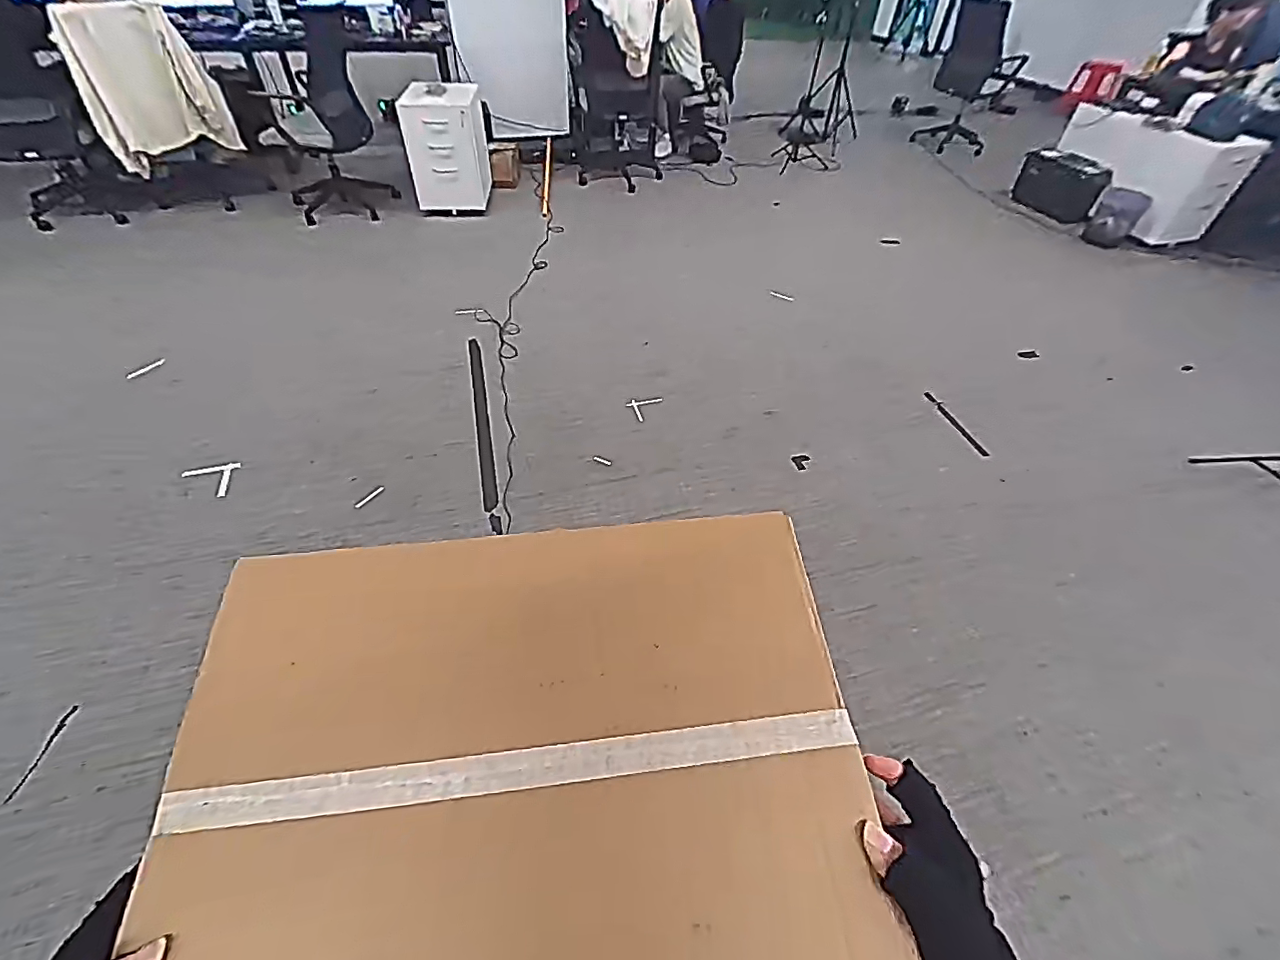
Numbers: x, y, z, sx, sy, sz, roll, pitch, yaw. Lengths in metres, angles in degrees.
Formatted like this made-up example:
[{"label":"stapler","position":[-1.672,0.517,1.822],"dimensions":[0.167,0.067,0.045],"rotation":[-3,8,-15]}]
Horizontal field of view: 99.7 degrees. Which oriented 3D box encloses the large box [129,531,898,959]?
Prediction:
[{"label":"large box","position":[-0.074,0.265,0.452],"dimensions":[0.408,0.320,0.320],"rotation":[-5,57,-5]}]
